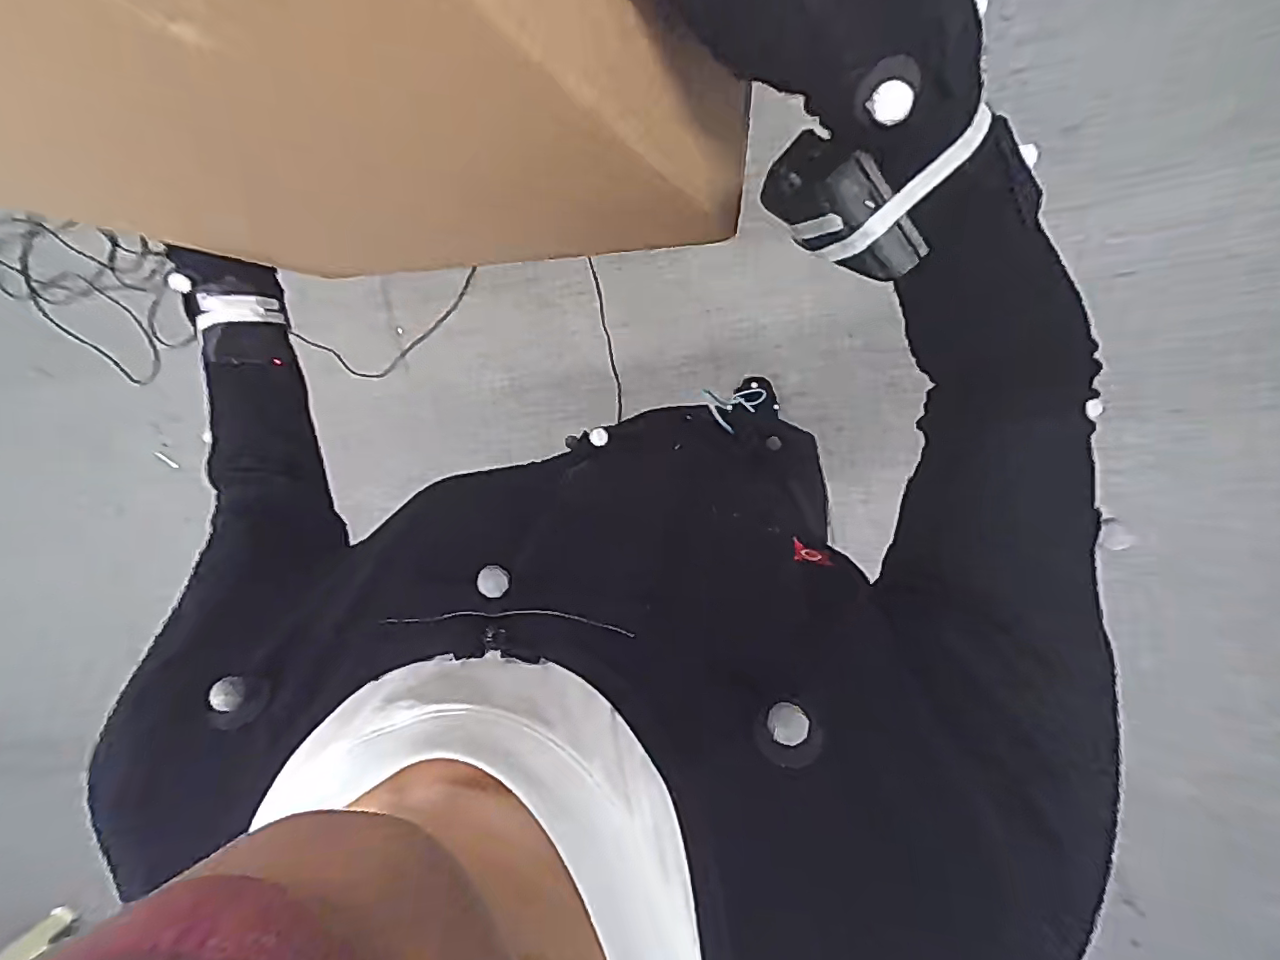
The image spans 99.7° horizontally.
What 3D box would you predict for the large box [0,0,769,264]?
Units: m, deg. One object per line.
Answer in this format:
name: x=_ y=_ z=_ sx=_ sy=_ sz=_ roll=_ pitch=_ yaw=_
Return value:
large box: x=-0.169 y=-0.316 z=0.263 sx=0.408 sy=0.320 sz=0.320 roll=8 pitch=100 yaw=28
